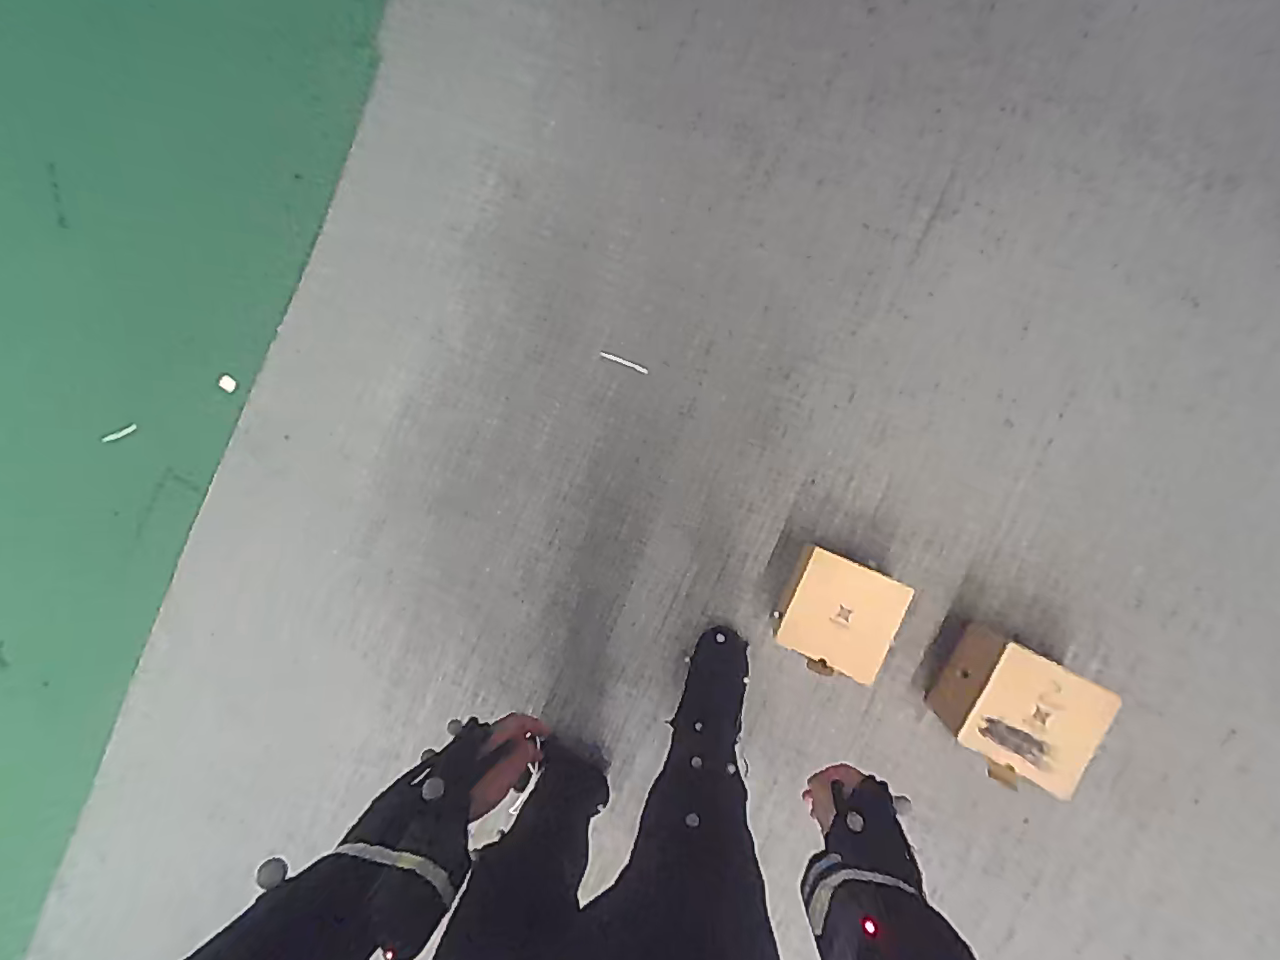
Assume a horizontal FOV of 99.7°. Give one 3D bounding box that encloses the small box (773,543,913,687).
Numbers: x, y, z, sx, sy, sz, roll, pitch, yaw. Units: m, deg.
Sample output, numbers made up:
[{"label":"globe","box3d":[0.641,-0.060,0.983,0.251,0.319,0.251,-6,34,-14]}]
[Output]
[{"label":"small box","box3d":[0.338,0.220,0.939,0.168,0.176,0.179,24,93,12]}]
